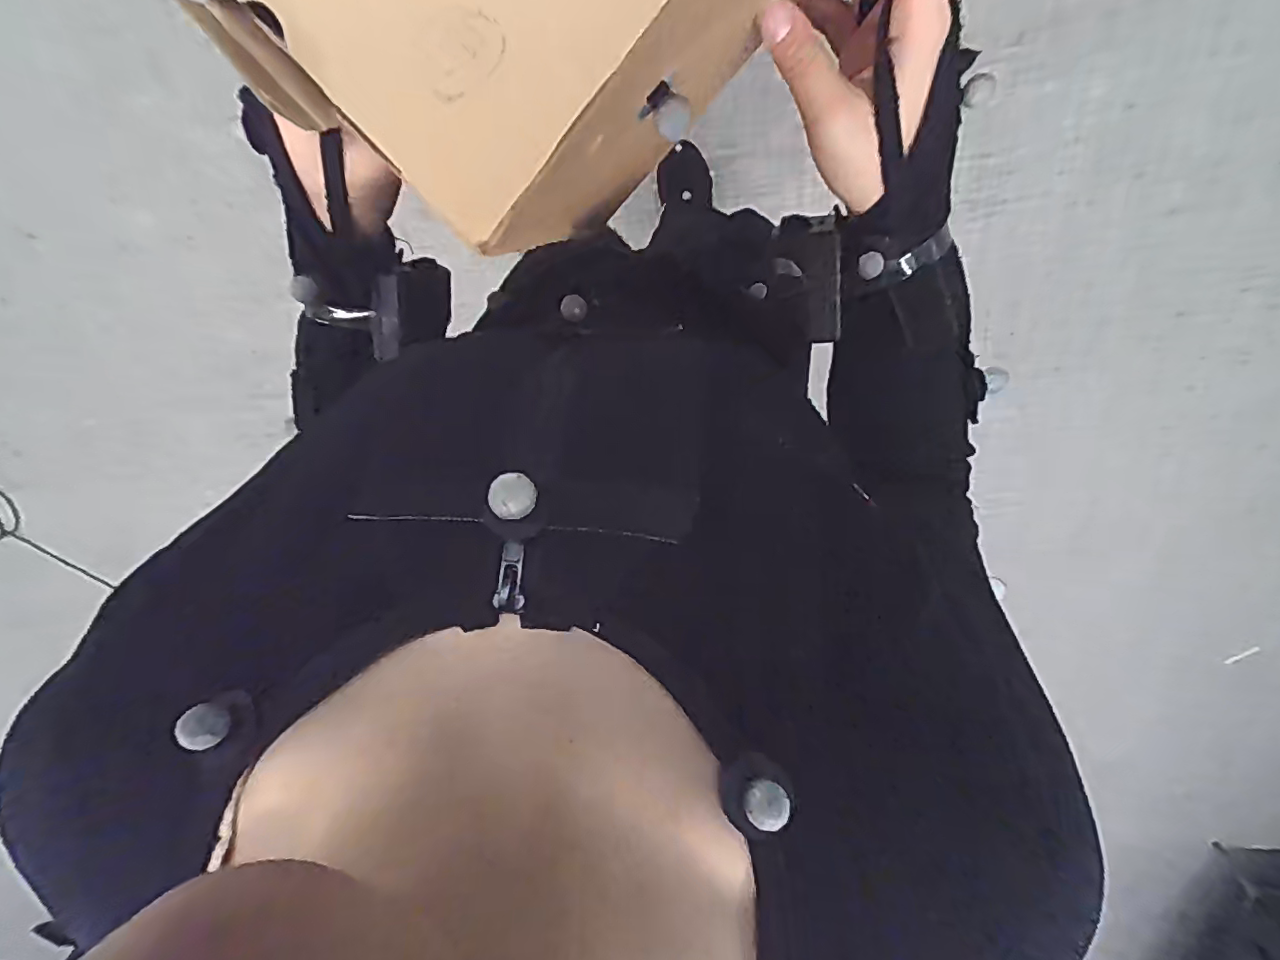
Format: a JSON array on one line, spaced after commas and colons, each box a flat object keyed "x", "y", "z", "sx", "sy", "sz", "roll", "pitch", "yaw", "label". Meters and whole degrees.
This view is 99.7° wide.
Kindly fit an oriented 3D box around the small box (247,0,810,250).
[{"x": -0.031, "y": -0.218, "z": 0.208, "sx": 0.168, "sy": 0.176, "sz": 0.179, "roll": 44, "pitch": 115, "yaw": -13, "label": "small box"}]
